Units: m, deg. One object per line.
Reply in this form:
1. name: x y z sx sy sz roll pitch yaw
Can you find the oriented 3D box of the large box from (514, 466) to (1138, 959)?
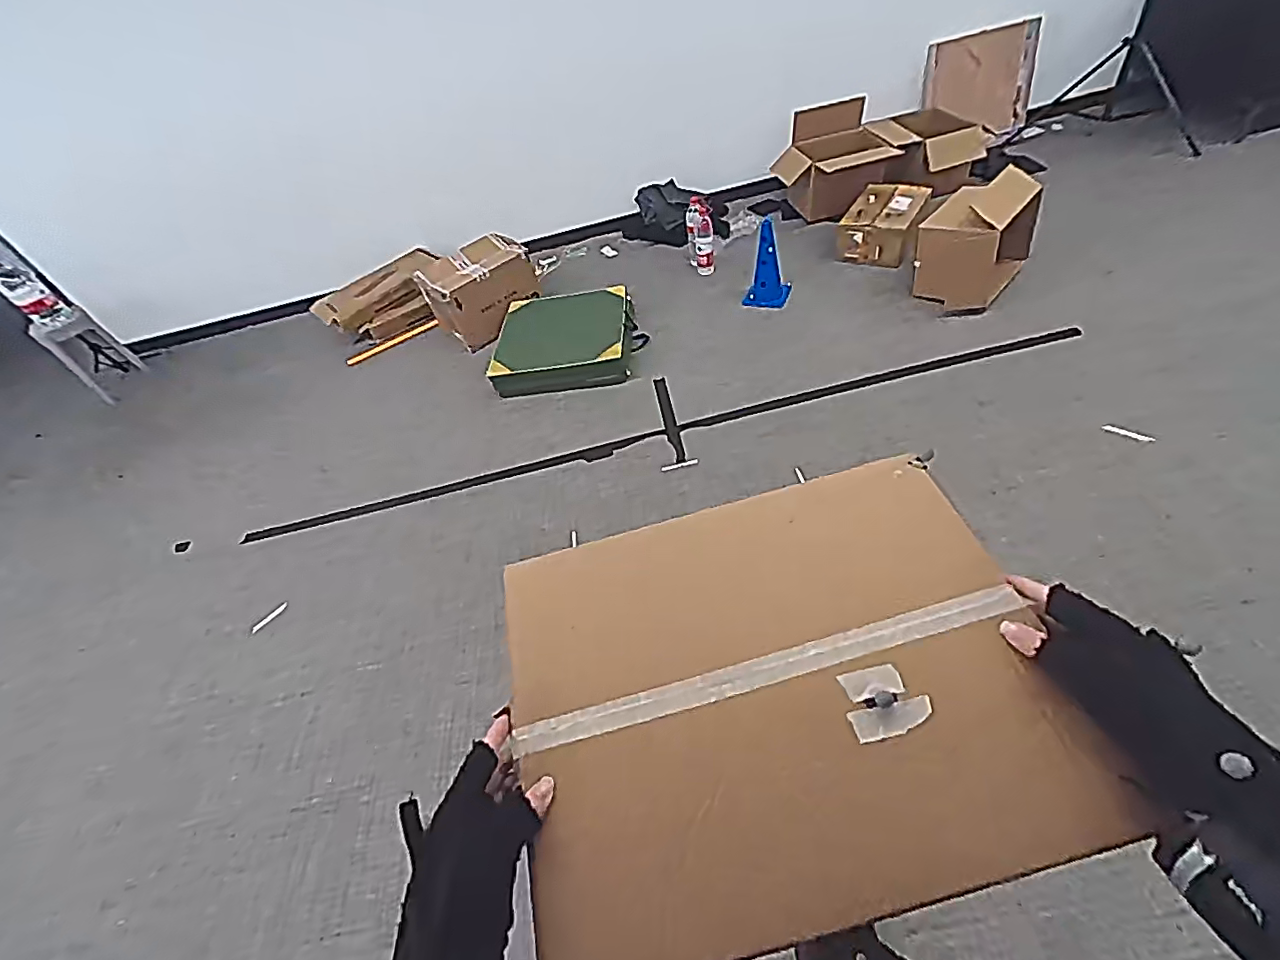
1. large box: 0.123 0.244 0.553 0.408 0.320 0.320 -16 53 -1
